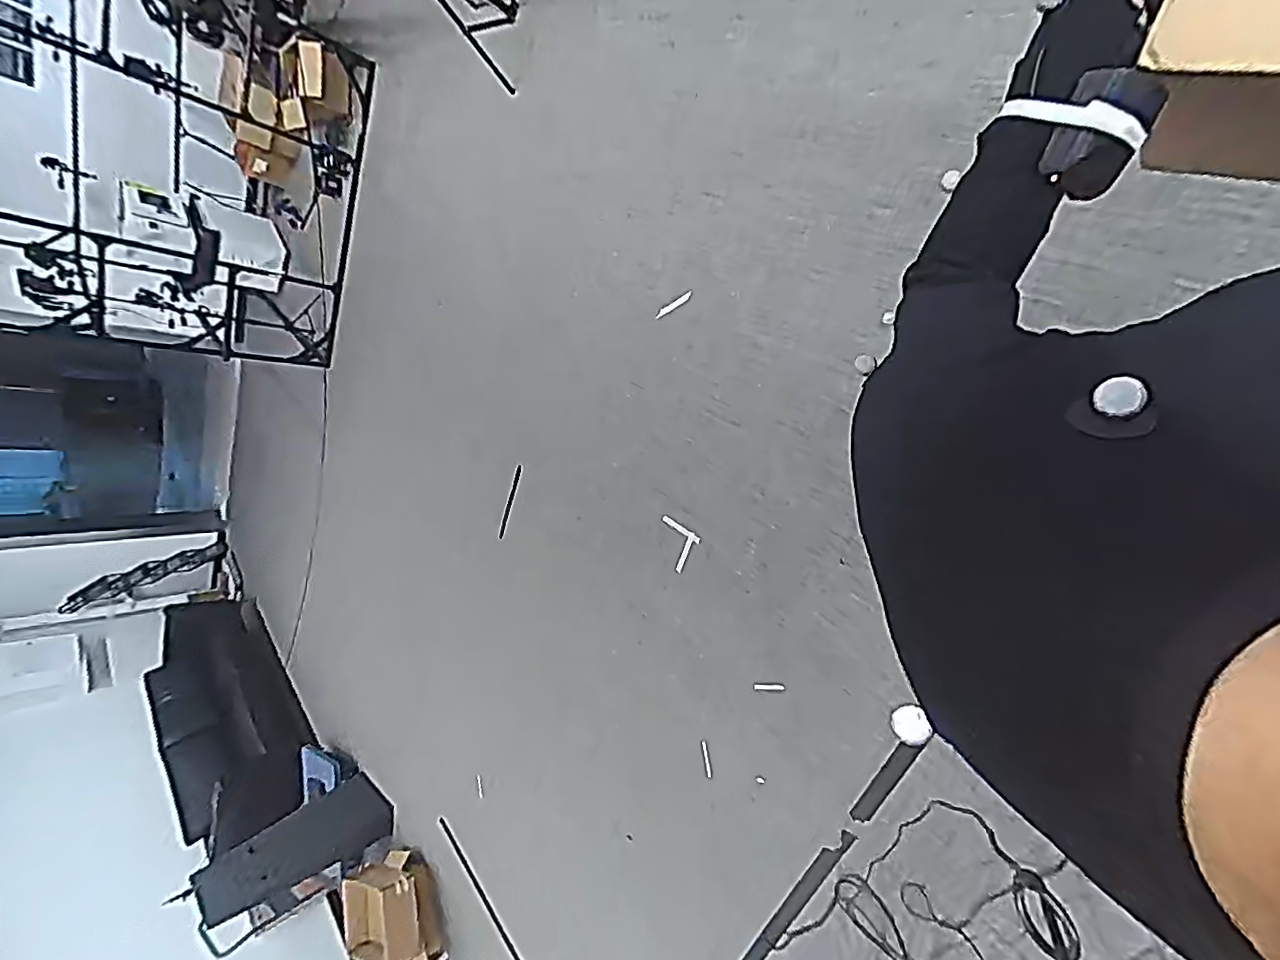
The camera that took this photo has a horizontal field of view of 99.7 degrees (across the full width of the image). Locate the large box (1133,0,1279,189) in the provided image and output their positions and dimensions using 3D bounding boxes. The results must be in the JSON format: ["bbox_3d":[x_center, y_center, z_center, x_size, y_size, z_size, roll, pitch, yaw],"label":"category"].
[{"bbox_3d":[0.596,-0.349,0.296,0.408,0.320,0.320,29,121,33],"label":"large box"}]
